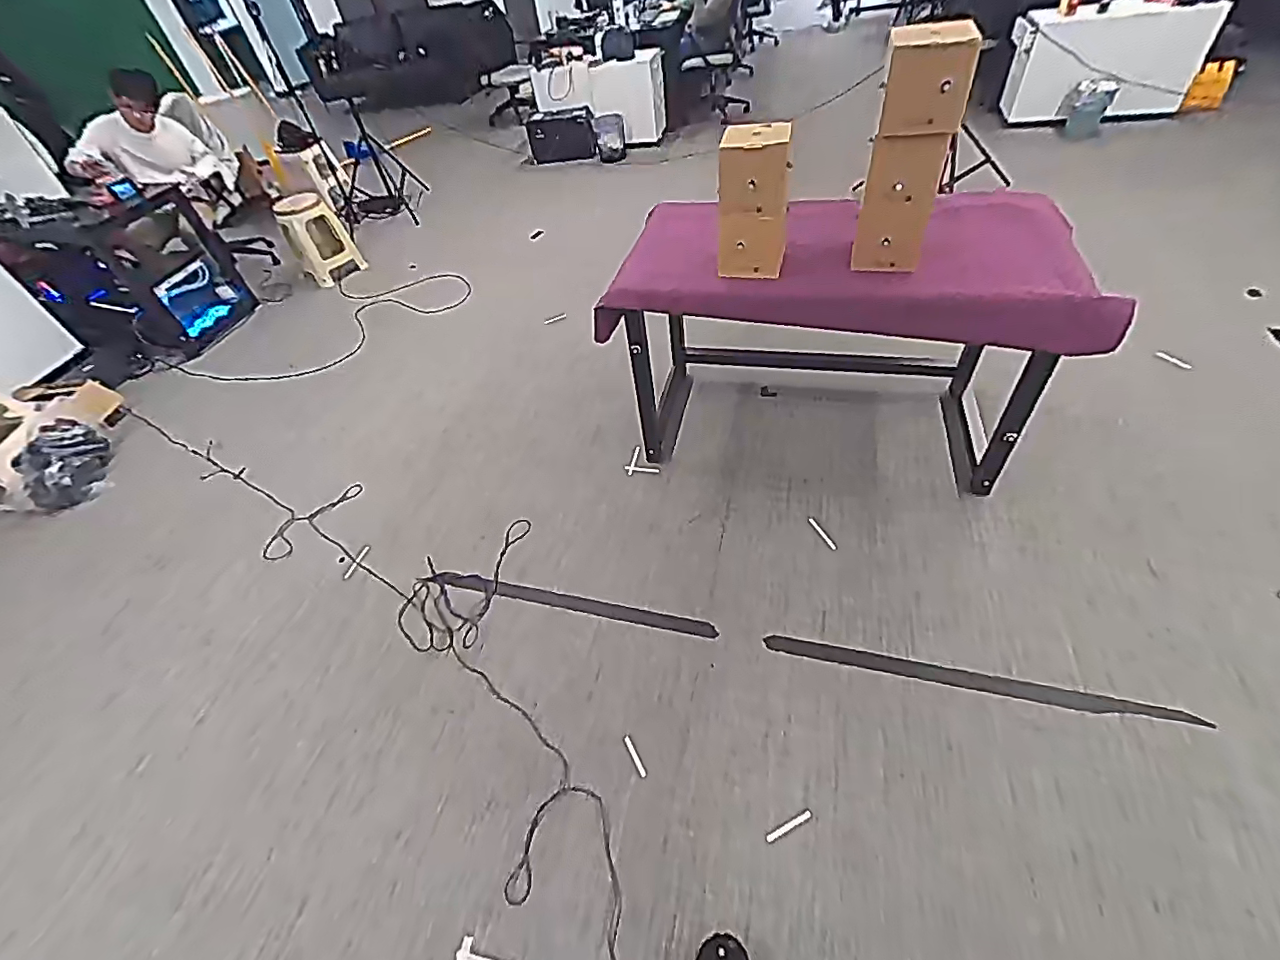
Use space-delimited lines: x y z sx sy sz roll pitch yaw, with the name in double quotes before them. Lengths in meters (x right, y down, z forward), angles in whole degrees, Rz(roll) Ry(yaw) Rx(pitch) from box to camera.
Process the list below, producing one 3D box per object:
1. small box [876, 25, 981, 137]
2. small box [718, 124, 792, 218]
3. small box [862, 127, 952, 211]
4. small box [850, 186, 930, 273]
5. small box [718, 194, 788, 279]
"small box" 0.628 -0.878 1.198 0.168 0.176 0.179 7 49 14
"small box" 0.298 -0.793 1.397 0.168 0.176 0.179 6 48 14
"small box" 0.651 -0.786 1.331 0.168 0.176 0.179 9 50 17
"small box" 0.667 -0.673 1.450 0.168 0.176 0.179 9 50 17
"small box" 0.317 -0.677 1.512 0.168 0.176 0.179 8 48 15
